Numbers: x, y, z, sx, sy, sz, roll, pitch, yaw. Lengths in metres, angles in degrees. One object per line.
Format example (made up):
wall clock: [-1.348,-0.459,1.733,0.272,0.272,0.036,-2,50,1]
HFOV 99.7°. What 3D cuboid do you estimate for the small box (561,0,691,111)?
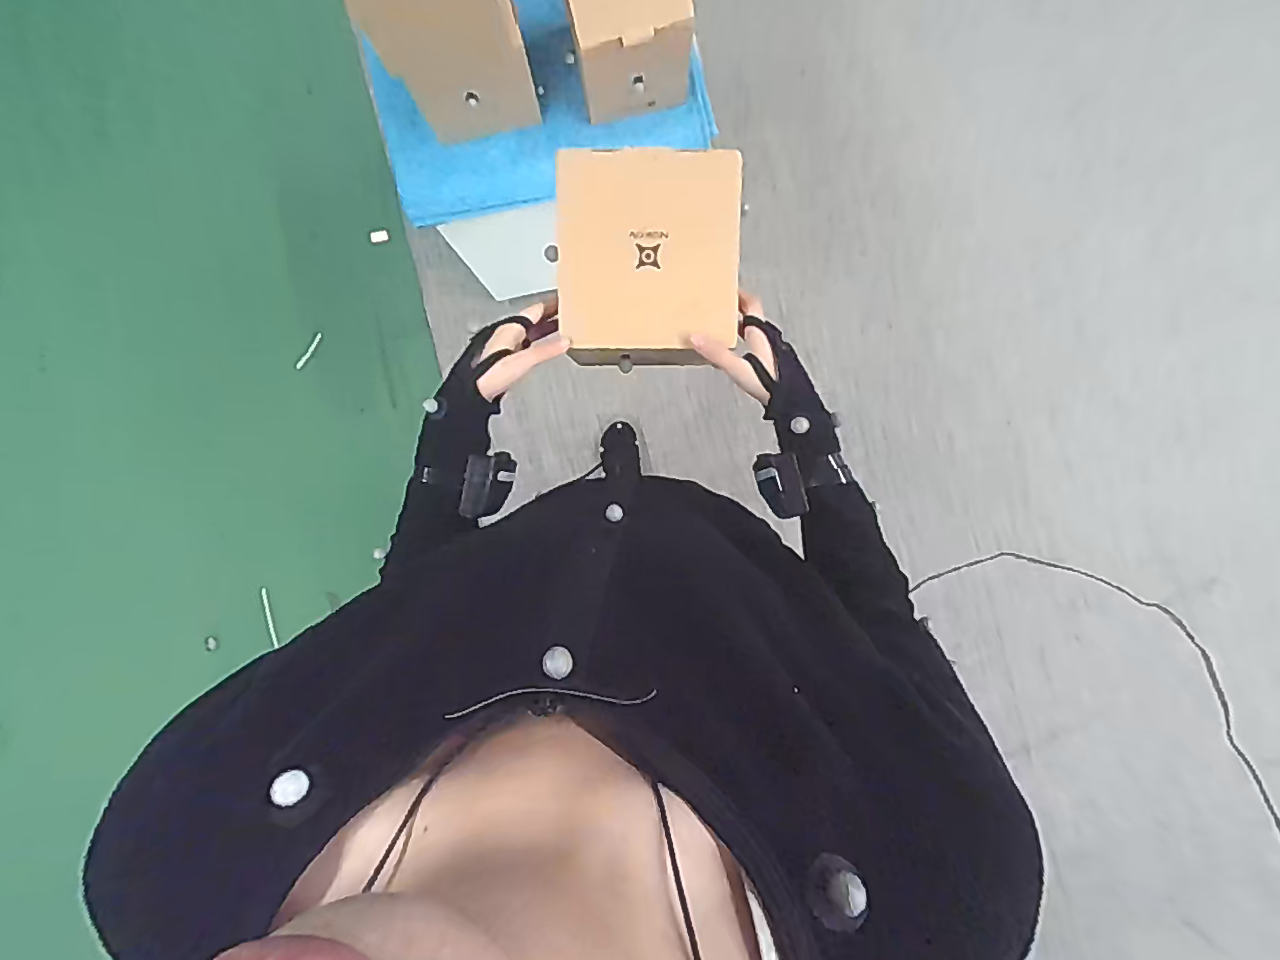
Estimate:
small box: [-0.026,-0.691,0.807,0.168,0.176,0.179,-13,92,0]

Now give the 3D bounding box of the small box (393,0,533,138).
small box: [-0.266,-0.653,0.806,0.179,0.176,0.168,-14,91,0]

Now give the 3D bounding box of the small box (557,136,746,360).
small box: [0.009,-0.218,0.554,0.168,0.176,0.179,0,96,-1]

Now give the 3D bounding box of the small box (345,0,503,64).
small box: [-0.273,-0.647,0.641,0.179,0.176,0.168,-14,90,0]
